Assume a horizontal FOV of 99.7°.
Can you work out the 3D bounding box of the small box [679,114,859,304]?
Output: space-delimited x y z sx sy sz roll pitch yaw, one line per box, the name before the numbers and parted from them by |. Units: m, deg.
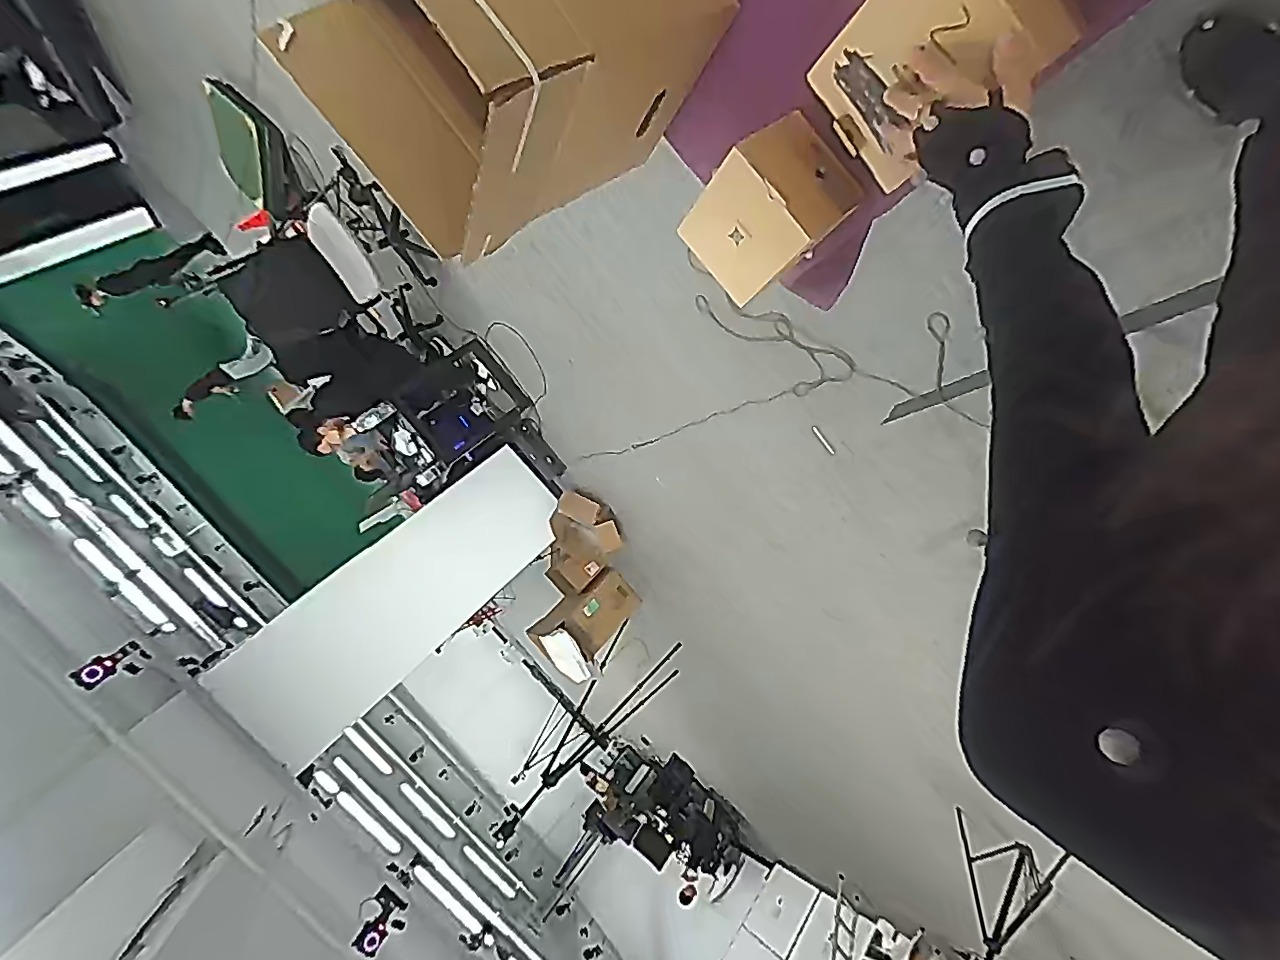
small box | 0.199 -0.415 0.839 0.168 0.176 0.179 49 151 -4
